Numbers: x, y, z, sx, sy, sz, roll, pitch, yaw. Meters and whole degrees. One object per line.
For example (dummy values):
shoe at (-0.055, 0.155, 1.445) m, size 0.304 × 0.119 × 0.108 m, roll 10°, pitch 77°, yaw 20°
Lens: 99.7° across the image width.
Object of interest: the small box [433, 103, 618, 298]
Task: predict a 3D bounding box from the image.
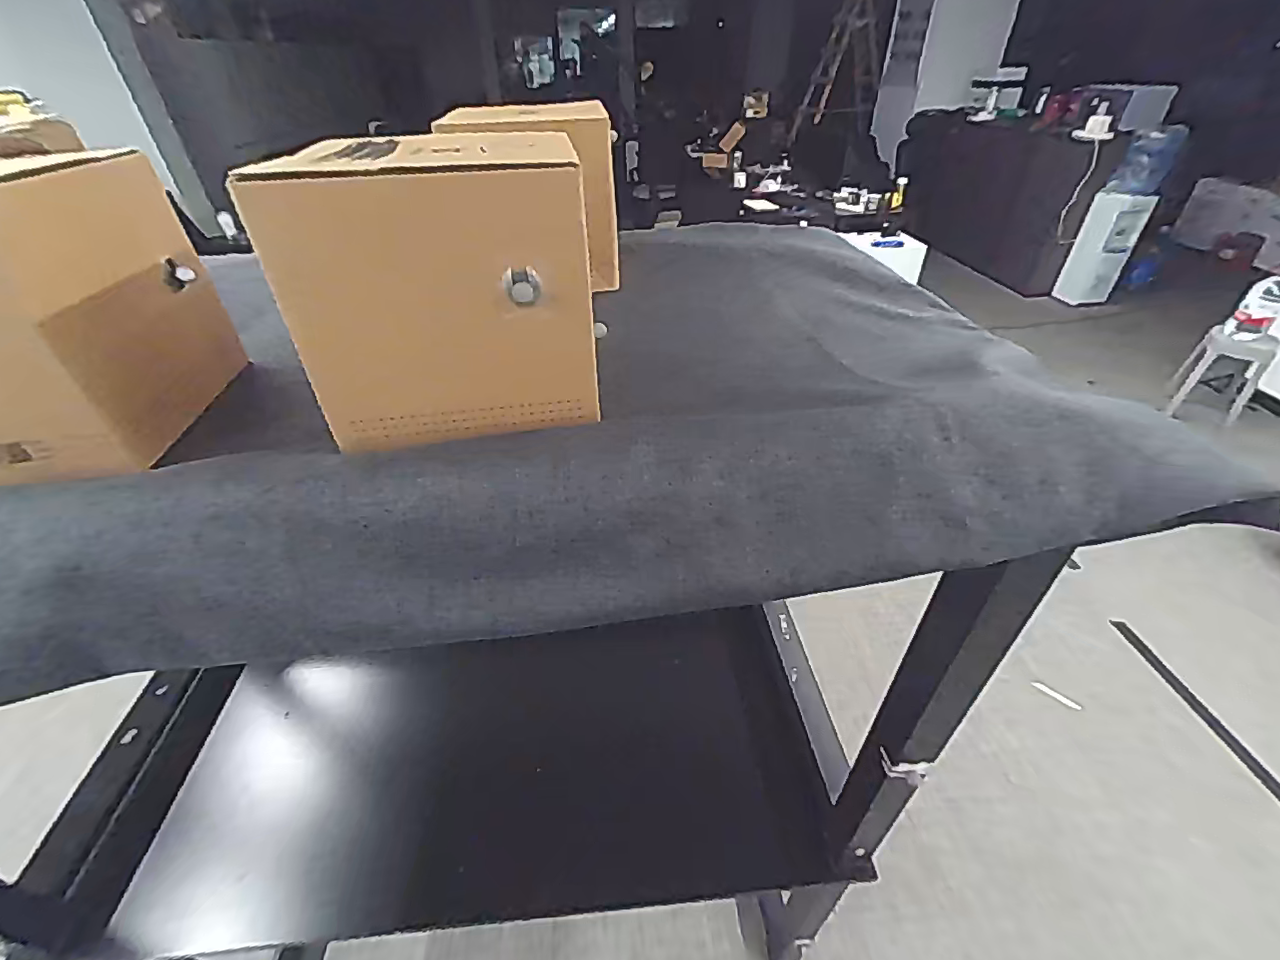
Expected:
small box at (-0.115, -0.314, 0.613) m, size 0.168 × 0.176 × 0.179 m, roll -5°, pitch 39°, yaw -4°

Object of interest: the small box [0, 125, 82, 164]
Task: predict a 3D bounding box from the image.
small box at (-0.689, -0.262, 0.568) m, size 0.179 × 0.176 × 0.168 m, roll -5°, pitch 39°, yaw -6°

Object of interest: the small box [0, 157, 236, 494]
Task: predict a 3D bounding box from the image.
small box at (-0.416, -0.105, 0.359) m, size 0.168 × 0.176 × 0.179 m, roll -8°, pitch 37°, yaw -6°
